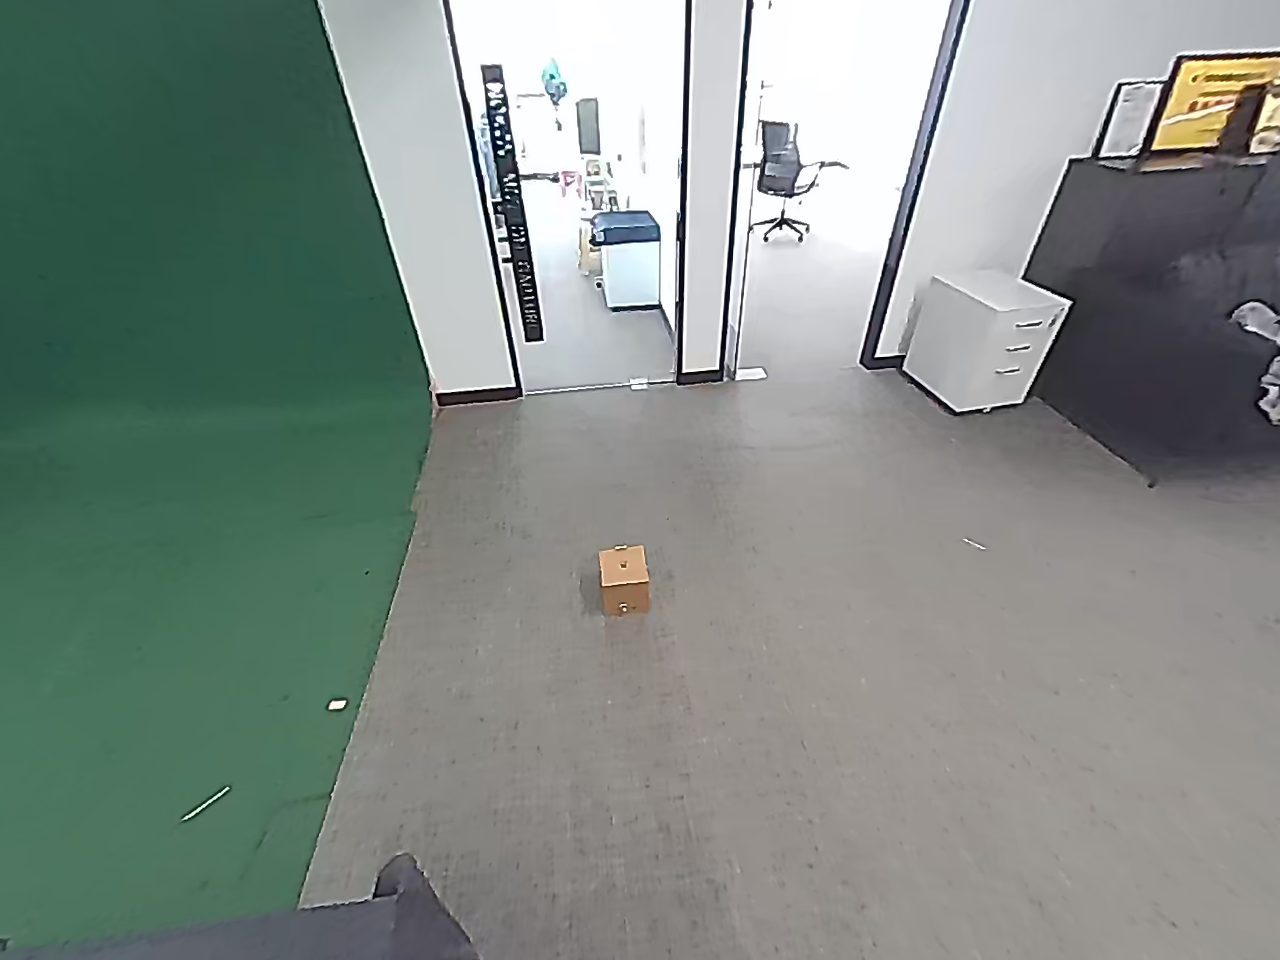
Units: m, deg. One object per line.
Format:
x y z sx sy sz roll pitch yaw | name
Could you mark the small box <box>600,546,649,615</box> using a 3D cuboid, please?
-0.056 0.364 1.956 0.168 0.176 0.179 -5 39 -1 | small box
